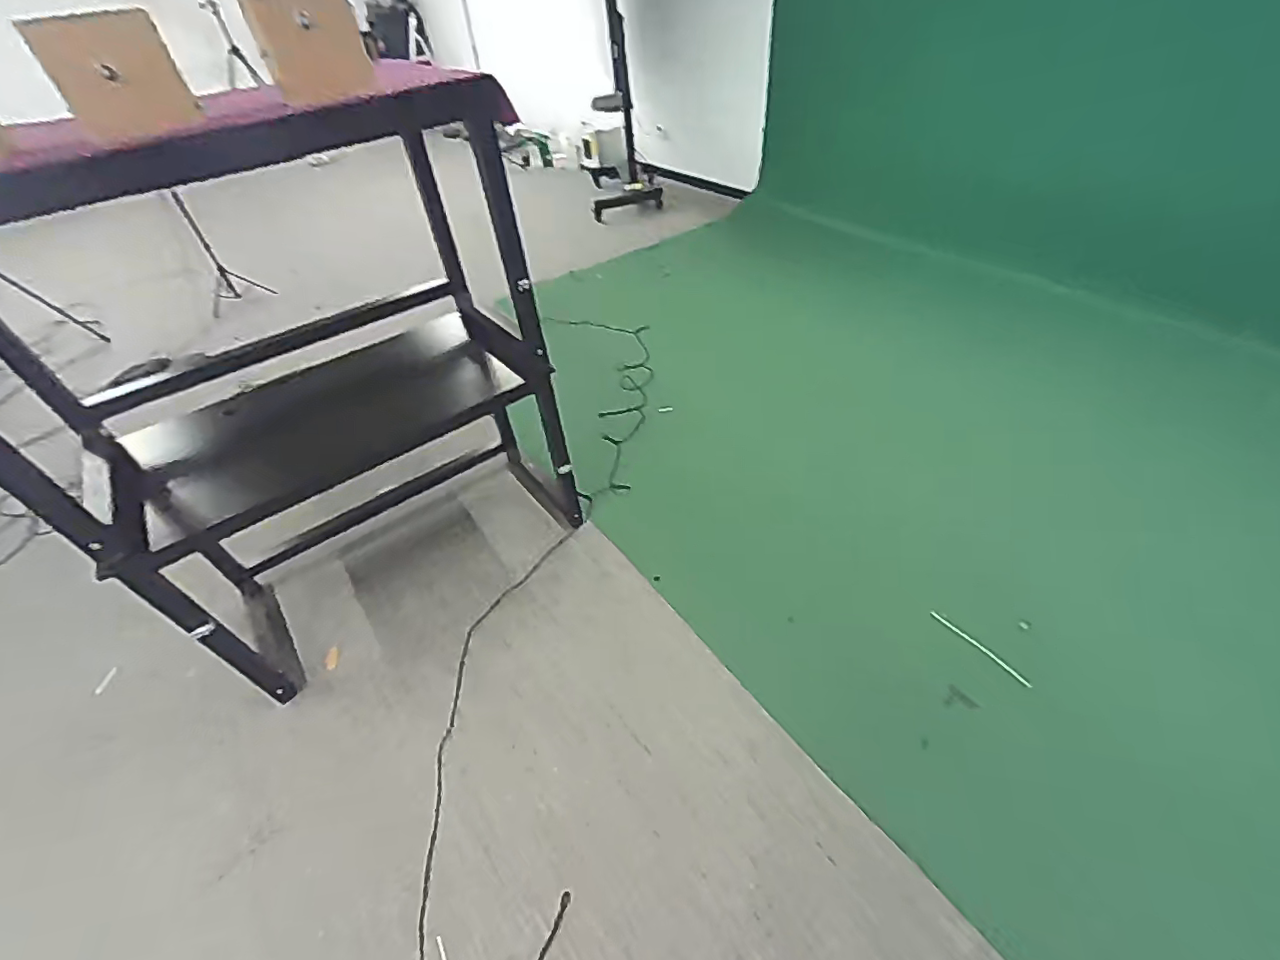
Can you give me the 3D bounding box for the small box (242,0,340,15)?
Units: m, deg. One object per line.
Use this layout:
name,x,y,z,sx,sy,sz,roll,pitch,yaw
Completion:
small box,-0.678,-0.979,1.000,0.168,0.176,0.179,-29,48,-20

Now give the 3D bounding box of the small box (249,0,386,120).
small box,-0.656,-0.858,1.109,0.179,0.176,0.168,-28,47,-20

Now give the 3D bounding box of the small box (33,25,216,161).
small box,-0.906,-0.699,0.975,0.179,0.176,0.168,-28,46,-19
